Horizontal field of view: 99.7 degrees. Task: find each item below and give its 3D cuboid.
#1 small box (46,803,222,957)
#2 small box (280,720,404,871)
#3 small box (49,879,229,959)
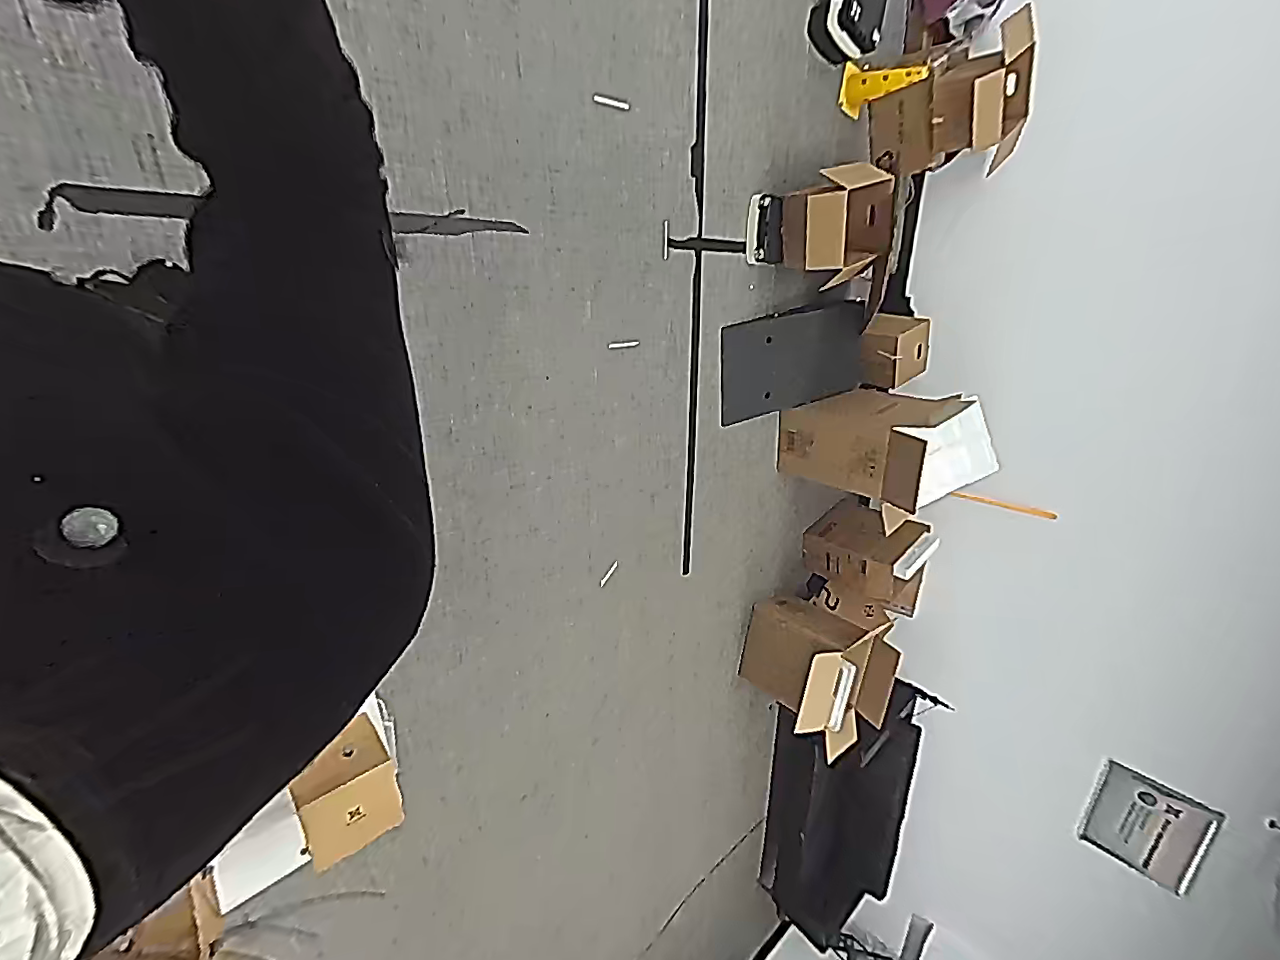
[{"bbox_3d":[-0.828,0.689,0.895,0.168,0.176,0.179,-23,122,-39],"label":"small box"},{"bbox_3d":[-0.604,0.619,1.095,0.168,0.176,0.179,-18,119,-39],"label":"small box"},{"bbox_3d":[-0.715,0.734,0.783,0.168,0.176,0.179,-21,120,-39],"label":"small box"}]
